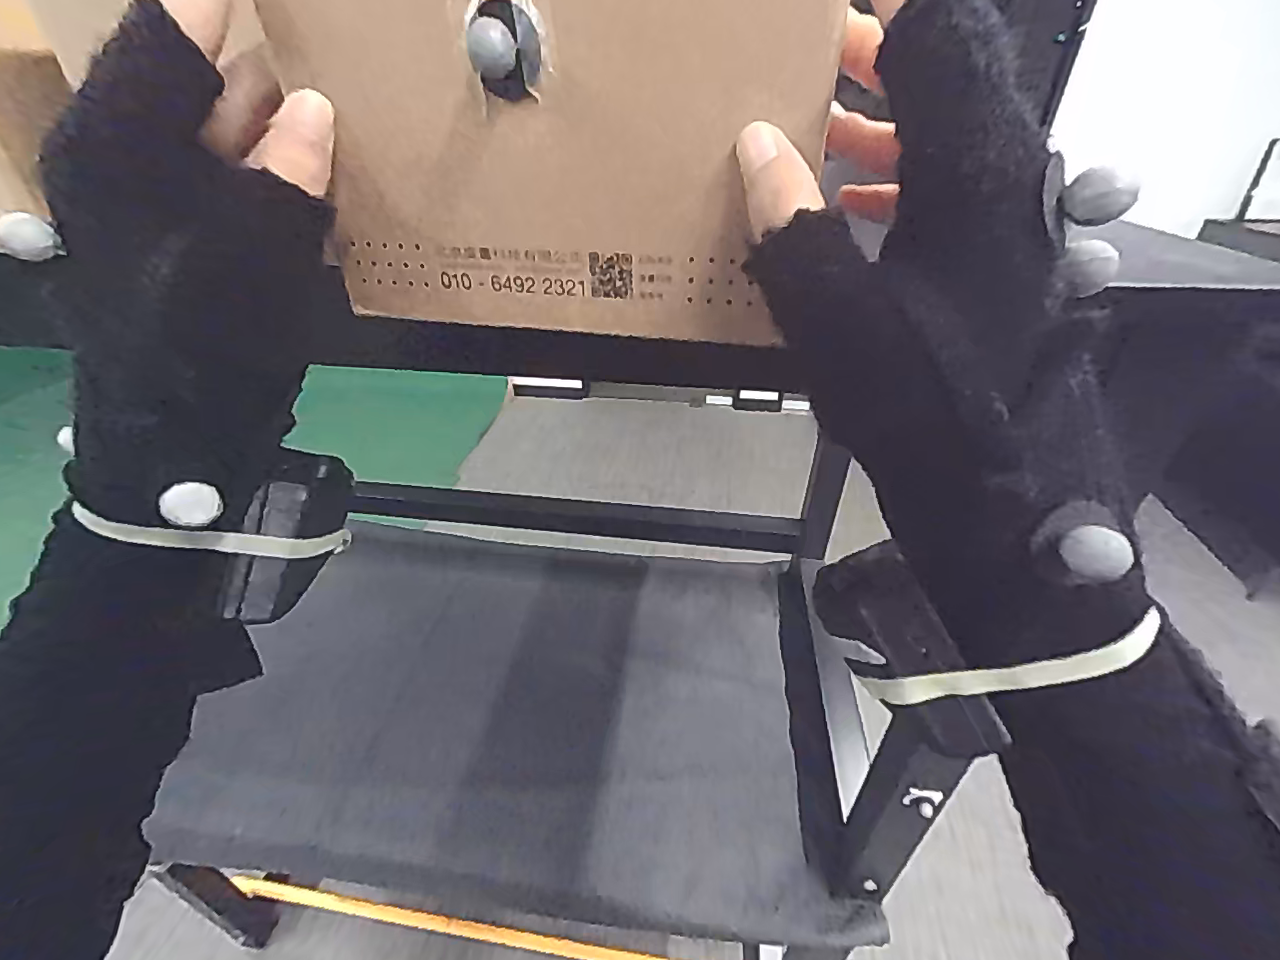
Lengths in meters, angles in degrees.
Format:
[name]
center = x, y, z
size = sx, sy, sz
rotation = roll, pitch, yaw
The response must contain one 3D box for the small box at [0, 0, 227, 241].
[small box]
center = -0.459, -0.276, 0.390
size = 0.168, 0.176, 0.179
rotation = 5, 34, 8
